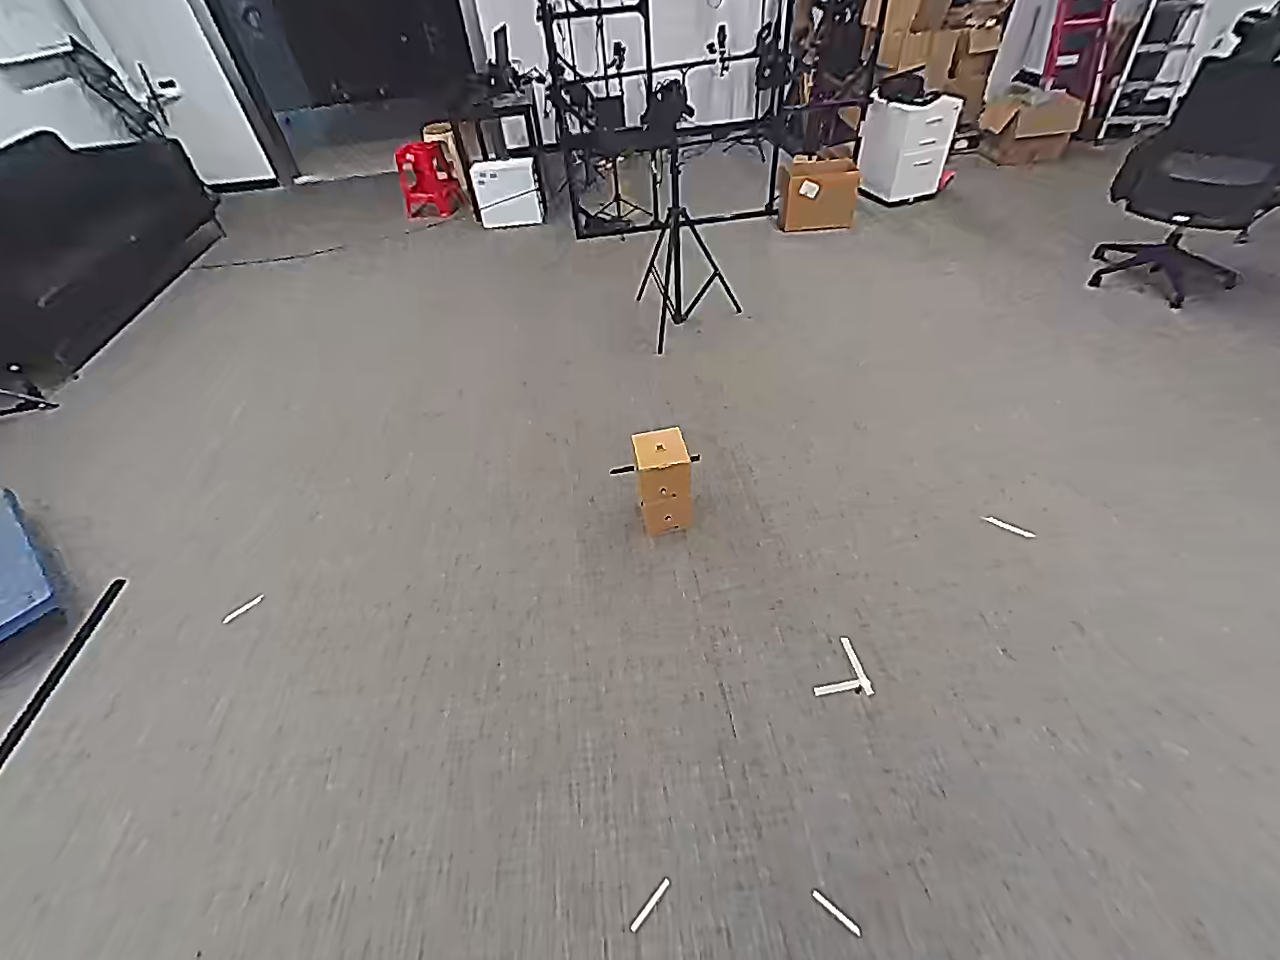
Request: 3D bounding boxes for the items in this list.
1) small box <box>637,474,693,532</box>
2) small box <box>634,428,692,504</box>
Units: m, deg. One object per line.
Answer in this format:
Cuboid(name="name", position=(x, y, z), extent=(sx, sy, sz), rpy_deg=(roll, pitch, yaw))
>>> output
Cuboid(name="small box", position=(0.089, 0.069, 1.920), extent=(0.168, 0.176, 0.179), rpy_deg=(-11, 44, -5))
Cuboid(name="small box", position=(0.076, -0.047, 1.806), extent=(0.168, 0.176, 0.179), rpy_deg=(-10, 46, -4))
